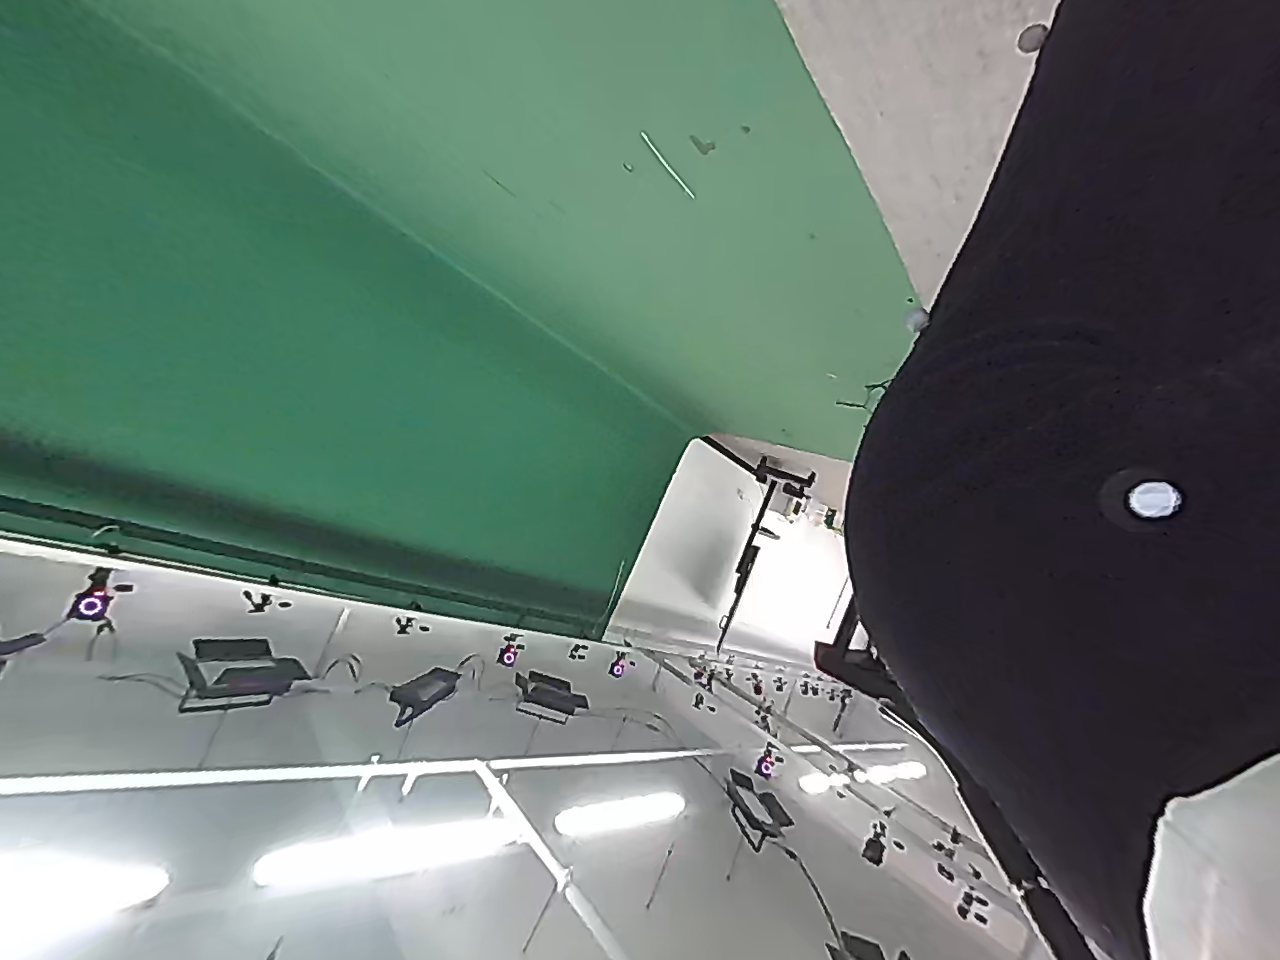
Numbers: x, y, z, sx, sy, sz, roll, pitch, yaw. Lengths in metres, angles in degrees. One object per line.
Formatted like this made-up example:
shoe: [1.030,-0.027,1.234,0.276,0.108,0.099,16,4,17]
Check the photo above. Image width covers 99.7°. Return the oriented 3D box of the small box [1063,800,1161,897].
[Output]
small box: [1.433,1.106,1.641,0.168,0.176,0.179,25,178,-41]
